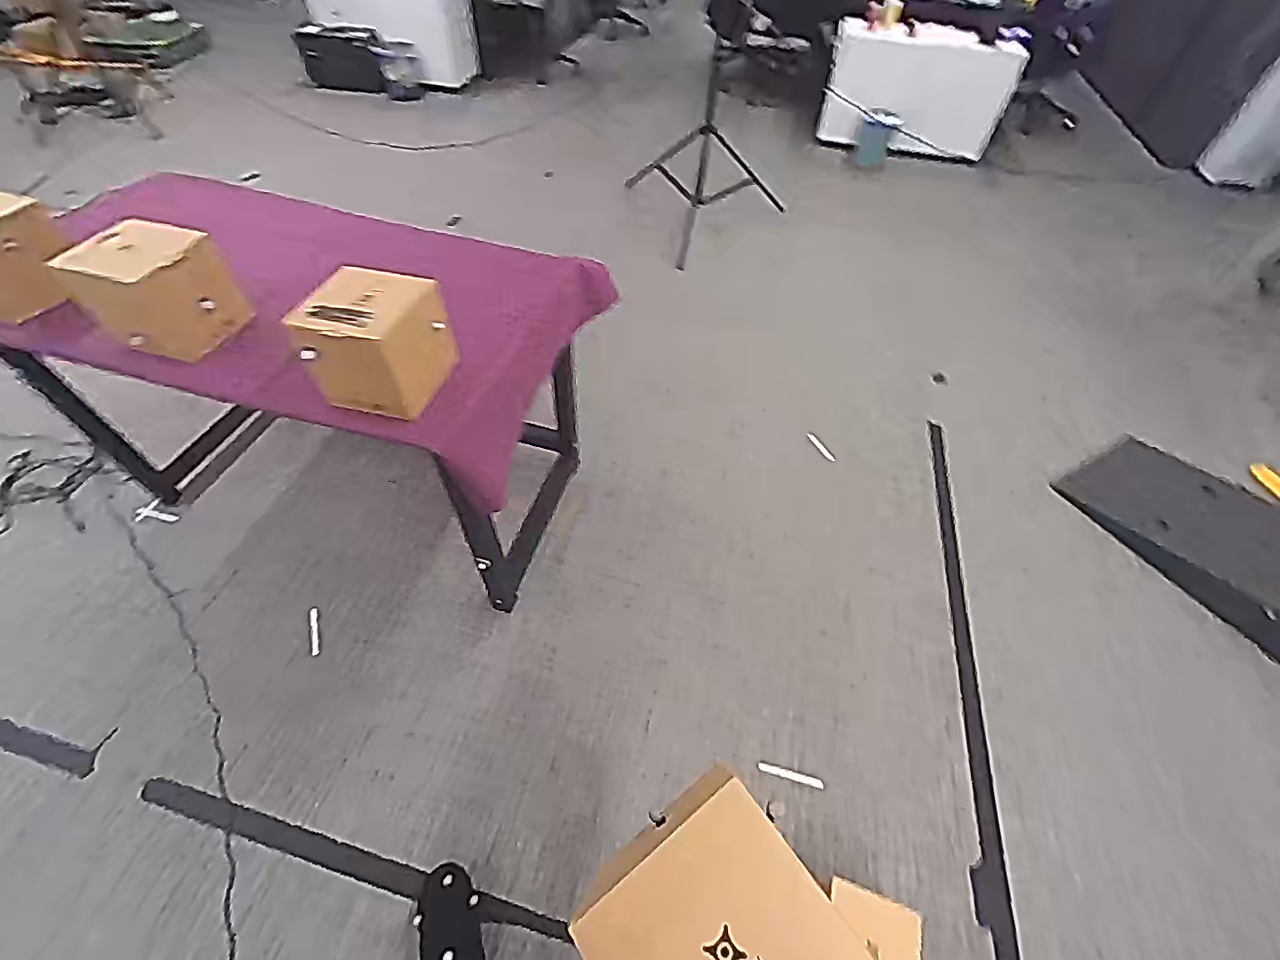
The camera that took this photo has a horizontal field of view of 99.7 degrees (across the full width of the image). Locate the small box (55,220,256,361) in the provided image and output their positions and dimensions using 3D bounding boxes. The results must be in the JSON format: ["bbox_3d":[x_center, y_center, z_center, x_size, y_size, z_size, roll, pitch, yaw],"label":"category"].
[{"bbox_3d":[-0.861,-0.340,0.987,0.179,0.176,0.168,15,53,8],"label":"small box"}]

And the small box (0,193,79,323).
[{"bbox_3d":[-1.229,-0.429,1.040,0.168,0.176,0.179,15,51,7],"label":"small box"}]

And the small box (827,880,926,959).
[{"bbox_3d":[0.412,0.887,1.013,0.168,0.176,0.179,18,53,11],"label":"small box"}]

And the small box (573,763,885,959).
[{"bbox_3d":[0.068,0.367,0.455,0.168,0.176,0.179,-37,70,-13],"label":"small box"}]
